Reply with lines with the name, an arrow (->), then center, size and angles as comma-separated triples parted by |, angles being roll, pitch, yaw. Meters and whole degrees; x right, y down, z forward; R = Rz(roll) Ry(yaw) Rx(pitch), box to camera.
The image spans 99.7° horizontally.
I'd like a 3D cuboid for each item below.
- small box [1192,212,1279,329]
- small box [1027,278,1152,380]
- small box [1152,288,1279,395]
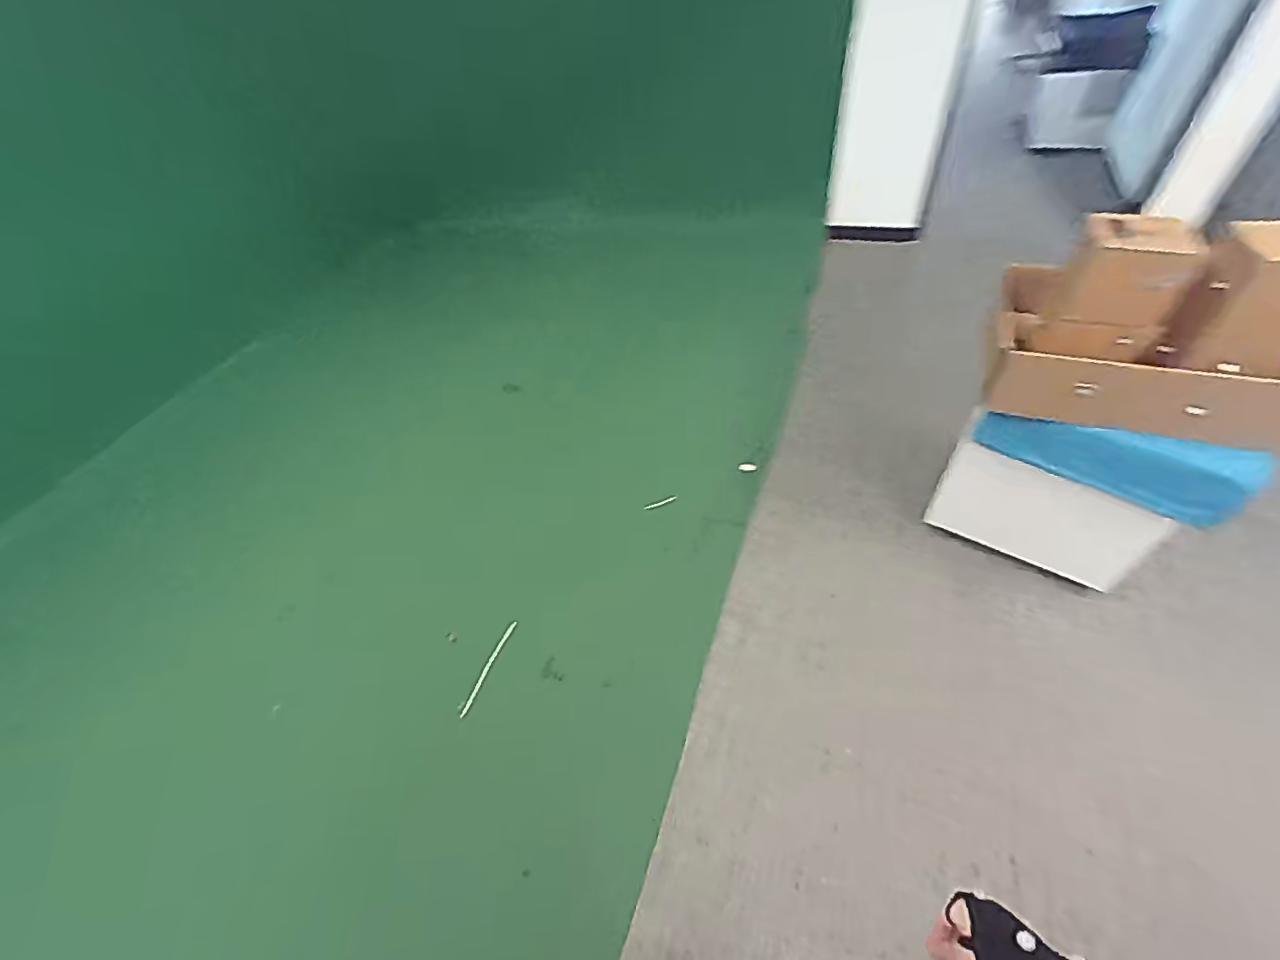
small box -> 1.267, -0.416, 1.081 | 0.179, 0.176, 0.168 | 8, 51, 17
small box -> 1.056, -0.360, 1.292 | 0.179, 0.176, 0.168 | 13, 52, 18
small box -> 1.291, -0.307, 1.200 | 0.179, 0.176, 0.168 | 8, 51, 19
